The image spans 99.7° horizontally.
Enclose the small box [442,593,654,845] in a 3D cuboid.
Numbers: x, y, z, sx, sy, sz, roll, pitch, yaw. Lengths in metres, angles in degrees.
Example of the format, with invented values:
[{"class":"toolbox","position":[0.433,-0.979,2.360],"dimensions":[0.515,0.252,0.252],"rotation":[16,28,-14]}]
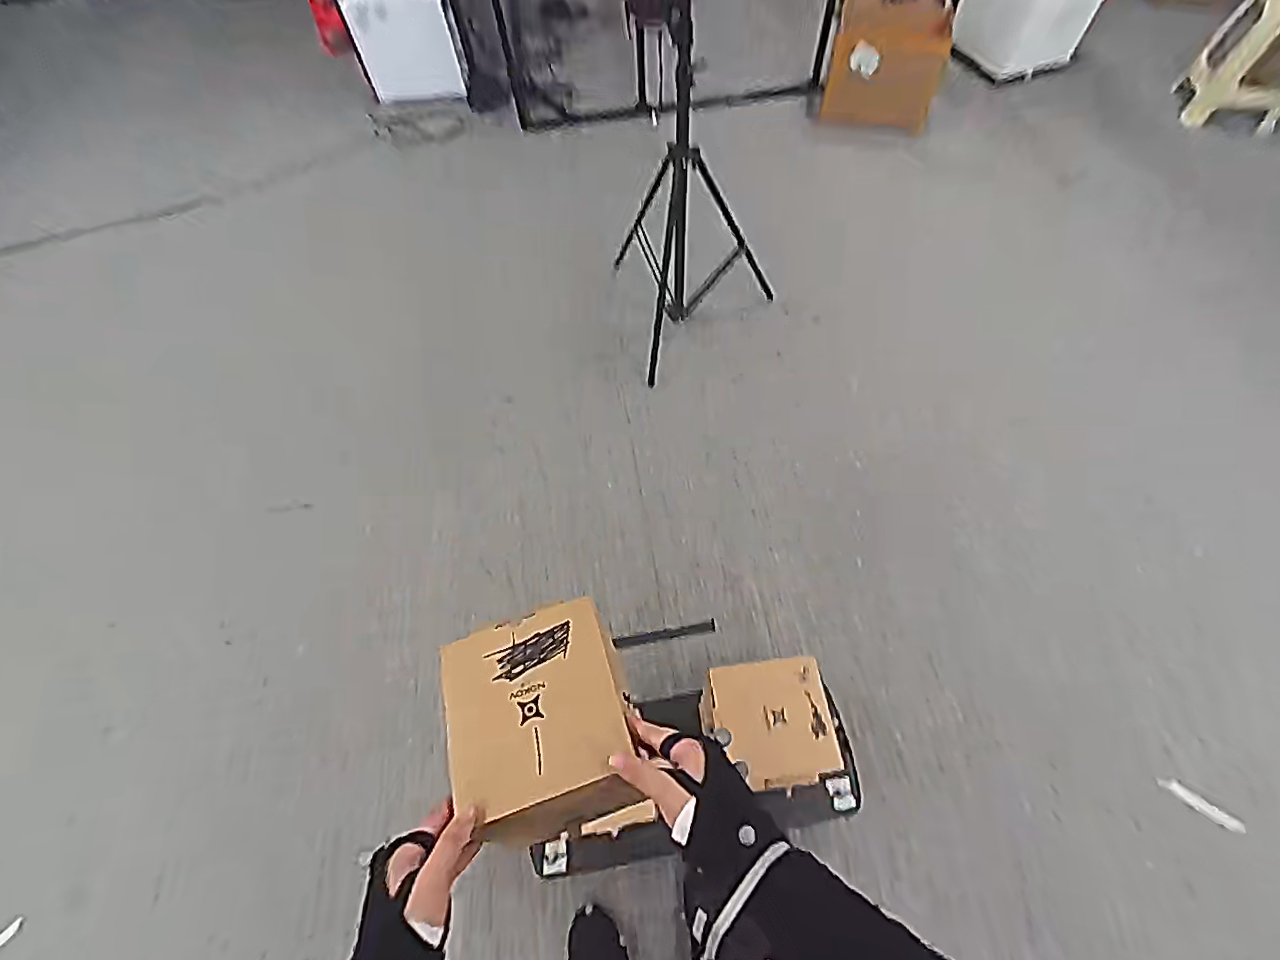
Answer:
[{"class":"small box","position":[-0.092,0.253,0.569],"dimensions":[0.168,0.176,0.179],"rotation":[-18,52,-5]}]

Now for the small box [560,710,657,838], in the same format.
[{"class":"small box","position":[-0.064,0.547,1.008],"dimensions":[0.168,0.176,0.179],"rotation":[-10,61,-3]}]

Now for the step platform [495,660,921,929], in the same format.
[{"class":"step platform","position":[0.105,0.542,0.963],"dimensions":[0.684,0.204,0.286],"rotation":[-10,60,-4]}]

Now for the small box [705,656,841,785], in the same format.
[{"class":"small box","position":[0.205,0.401,0.892],"dimensions":[0.179,0.176,0.168],"rotation":[-7,60,-1]}]

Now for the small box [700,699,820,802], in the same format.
[{"class":"small box","position":[0.212,0.499,1.023],"dimensions":[0.179,0.176,0.168],"rotation":[-10,59,-3]}]
